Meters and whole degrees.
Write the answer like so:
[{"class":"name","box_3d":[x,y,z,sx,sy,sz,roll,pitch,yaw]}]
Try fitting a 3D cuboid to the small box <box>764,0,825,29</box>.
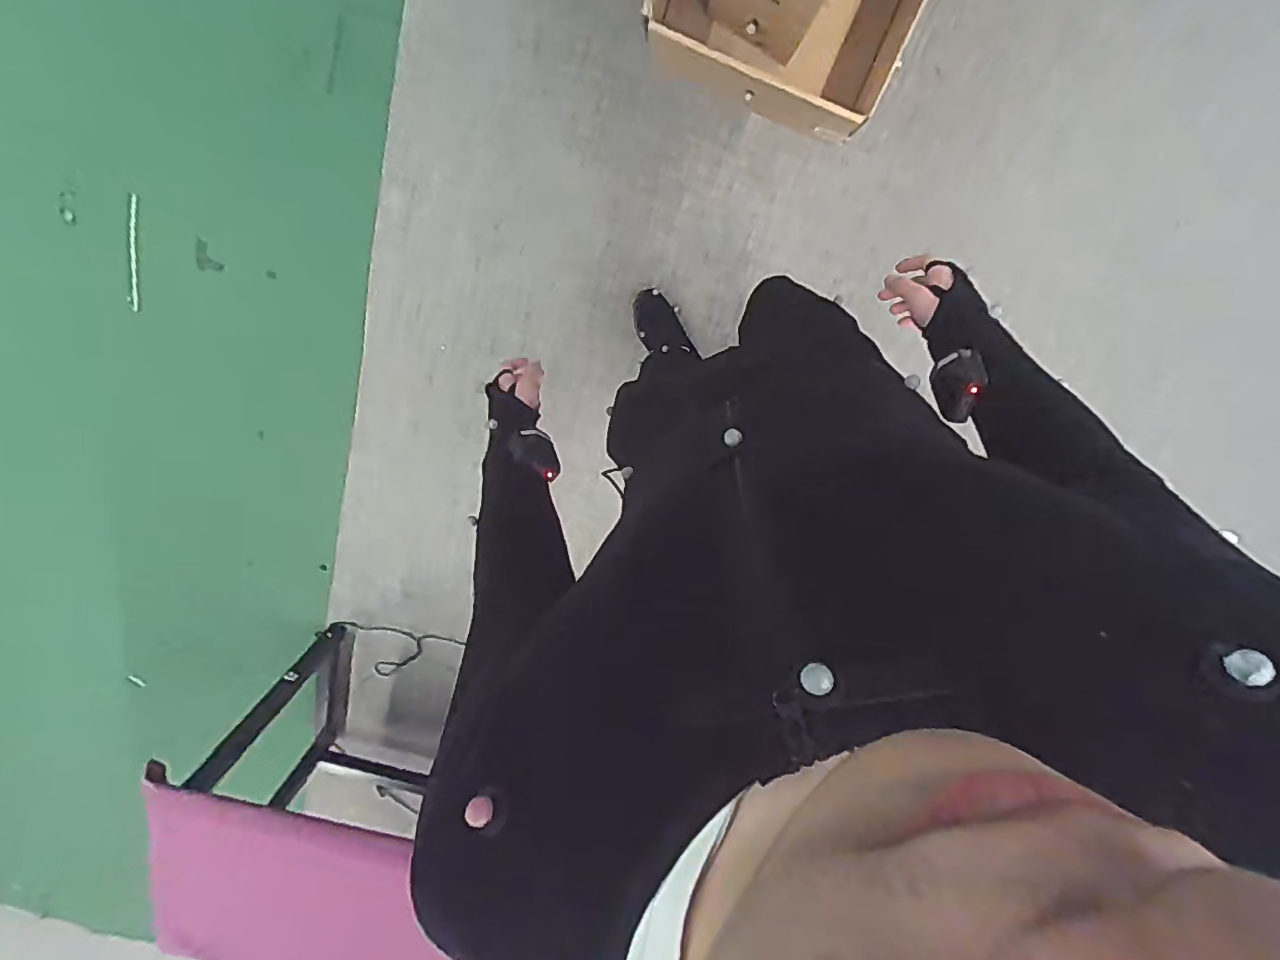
[{"class":"small box","box_3d":[0.212,-0.735,0.685,0.168,0.176,0.179,30,108,-9]}]
